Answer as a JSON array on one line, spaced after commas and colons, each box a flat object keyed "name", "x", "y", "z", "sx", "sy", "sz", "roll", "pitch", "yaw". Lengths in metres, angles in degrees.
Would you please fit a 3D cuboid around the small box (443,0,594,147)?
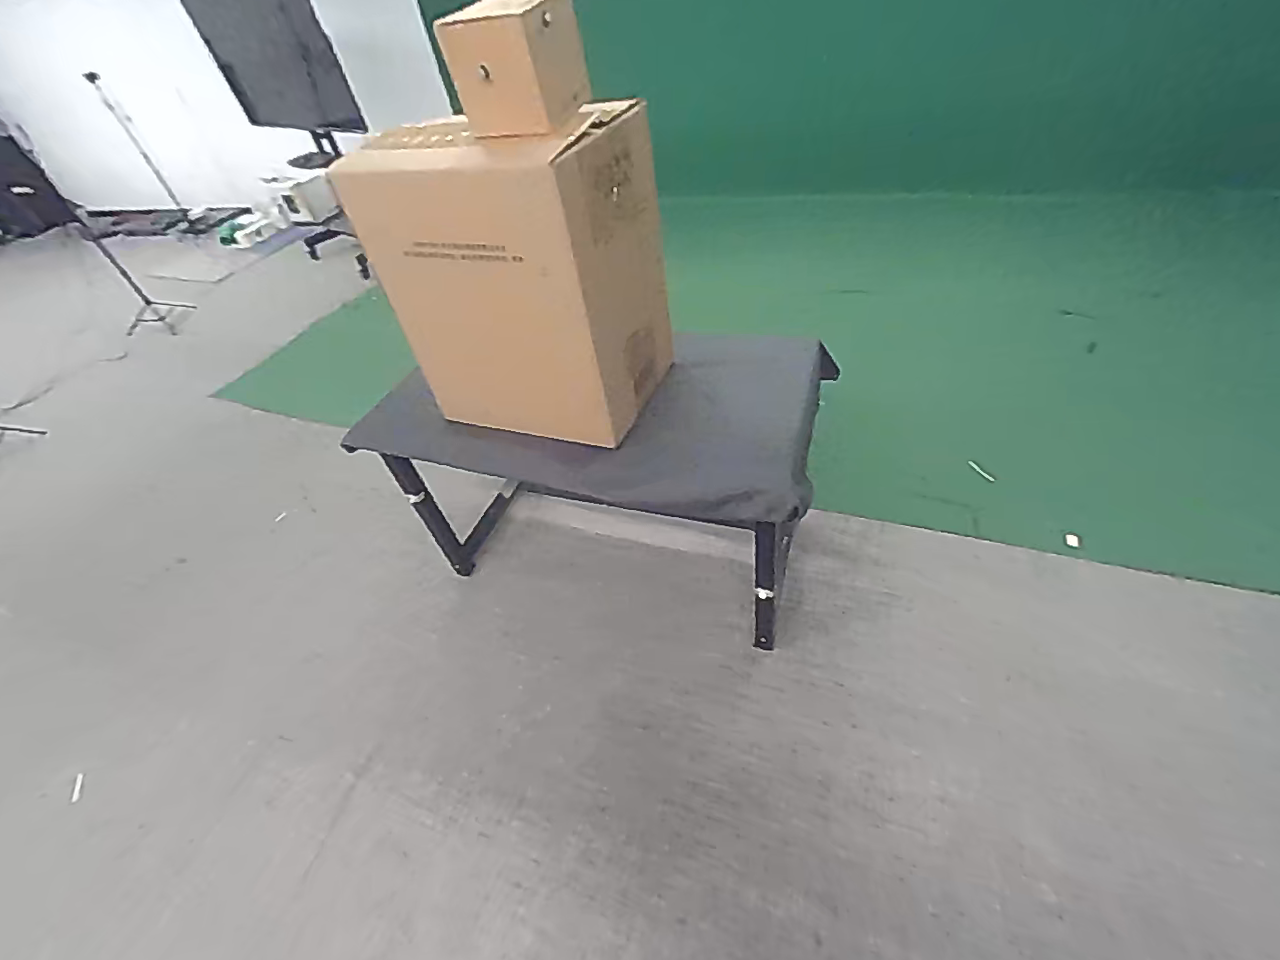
[{"name": "small box", "x": -0.207, "y": -0.718, "z": 0.968, "sx": 0.179, "sy": 0.176, "sz": 0.168, "roll": 12, "pitch": 55, "yaw": 23}]
